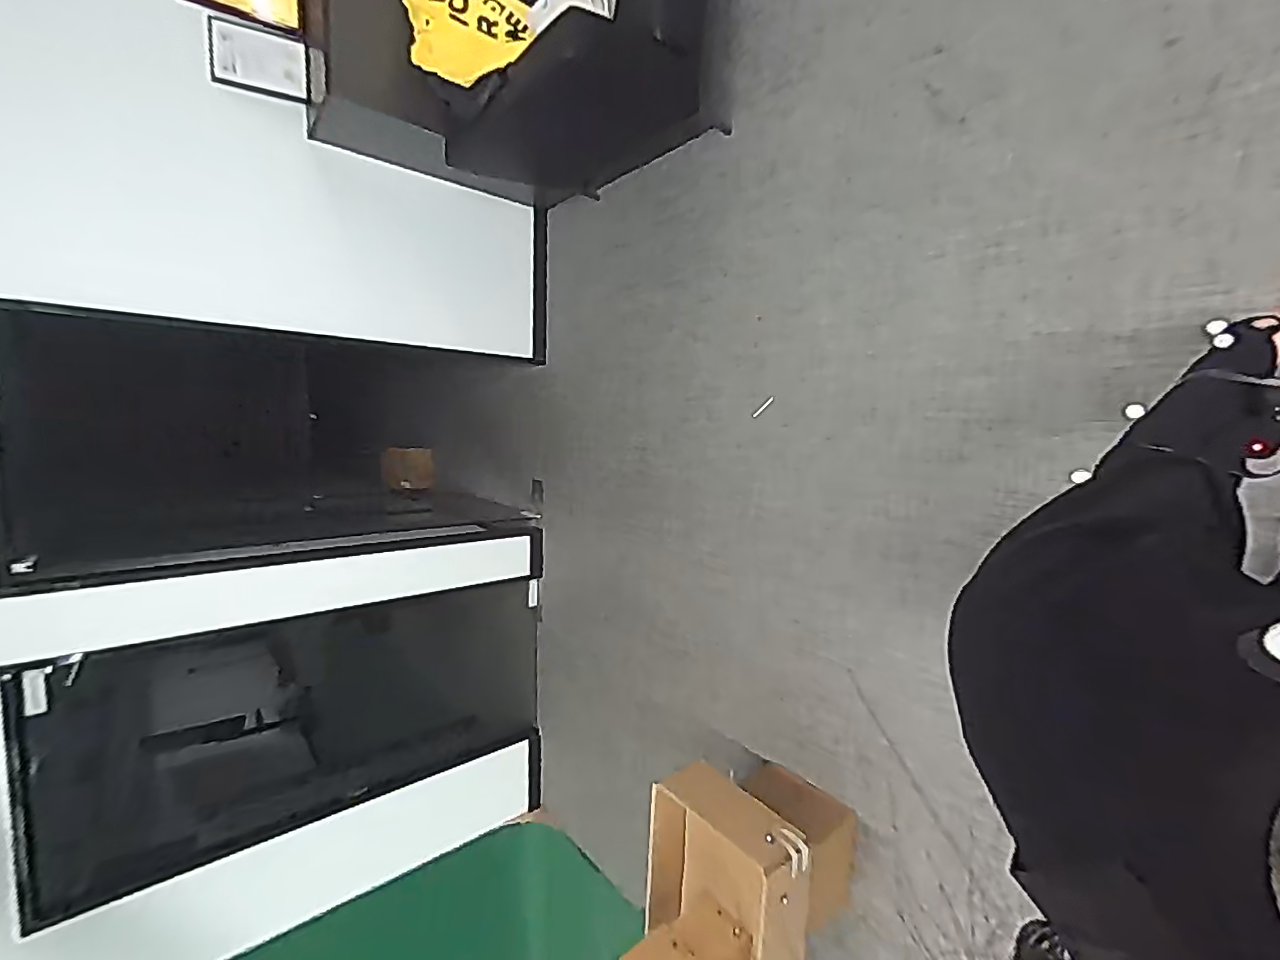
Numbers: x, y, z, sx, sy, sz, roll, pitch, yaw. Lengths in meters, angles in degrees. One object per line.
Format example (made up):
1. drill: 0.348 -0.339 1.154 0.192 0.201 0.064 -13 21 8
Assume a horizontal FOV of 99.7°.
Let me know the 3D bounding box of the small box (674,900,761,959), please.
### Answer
1. small box: 0.207 1.297 1.455 0.168 0.176 0.179 12 101 50
